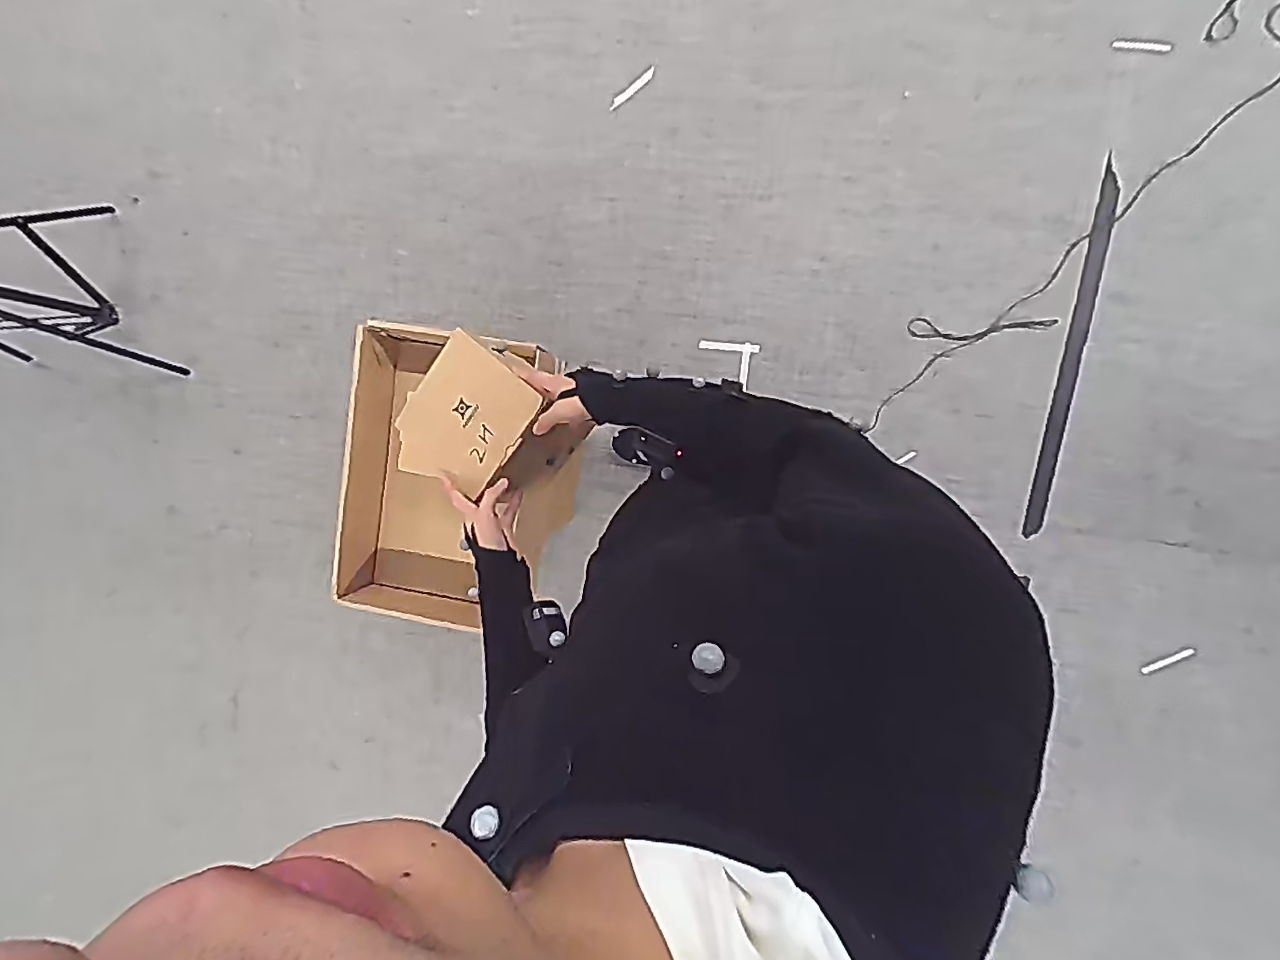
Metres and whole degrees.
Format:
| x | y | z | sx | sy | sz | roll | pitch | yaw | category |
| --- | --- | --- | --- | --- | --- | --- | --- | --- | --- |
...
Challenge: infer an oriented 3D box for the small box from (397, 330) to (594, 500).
| x | y | z | sx | sy | sz | roll | pitch | yaw | category |
| --- | --- | --- | --- | --- | --- | --- | --- | --- | --- |
| -0.200 | -0.081 | 0.782 | 0.179 | 0.176 | 0.168 | 39 | 99 | 16 | small box |
